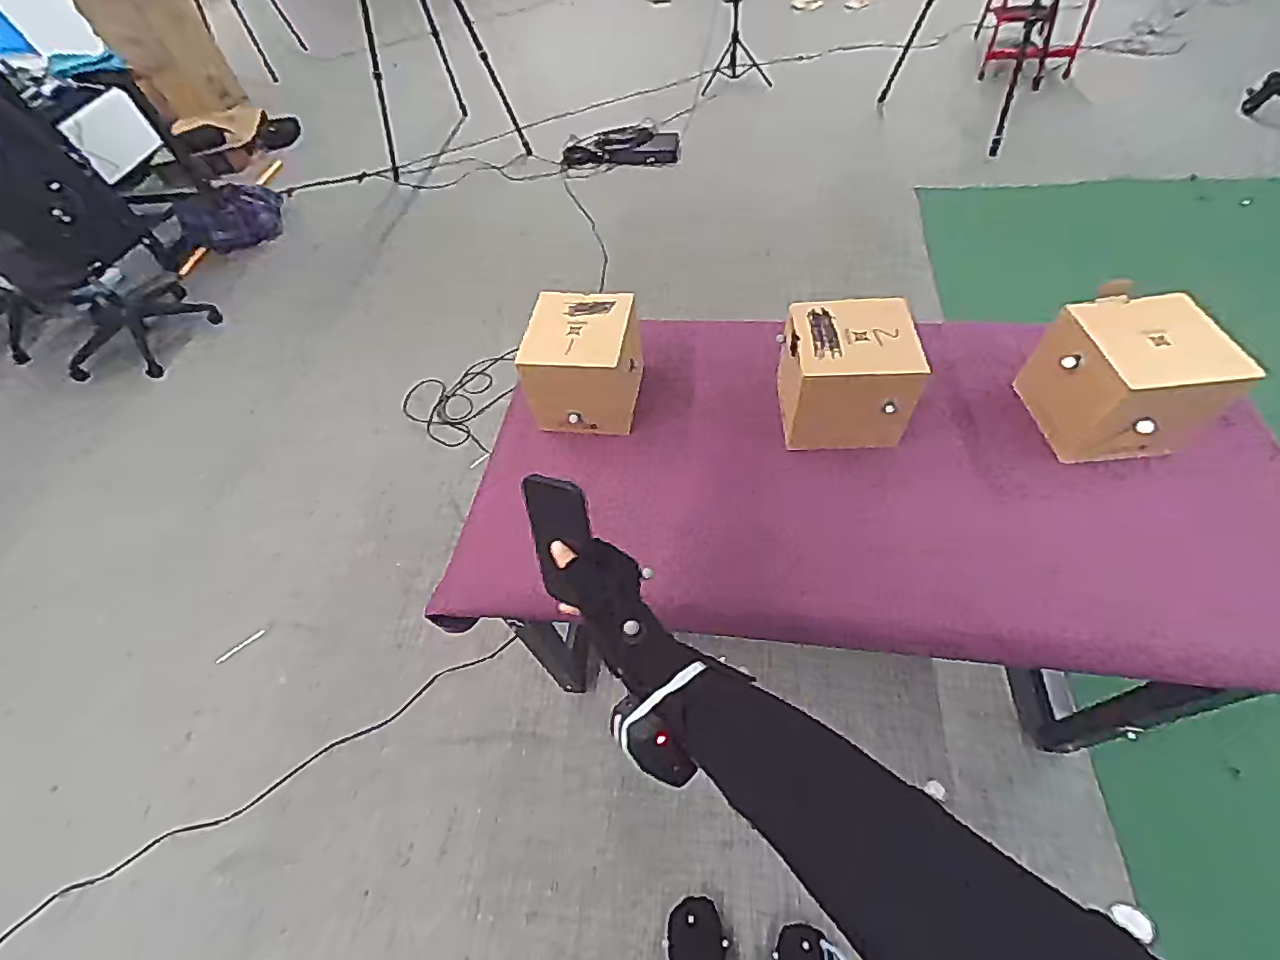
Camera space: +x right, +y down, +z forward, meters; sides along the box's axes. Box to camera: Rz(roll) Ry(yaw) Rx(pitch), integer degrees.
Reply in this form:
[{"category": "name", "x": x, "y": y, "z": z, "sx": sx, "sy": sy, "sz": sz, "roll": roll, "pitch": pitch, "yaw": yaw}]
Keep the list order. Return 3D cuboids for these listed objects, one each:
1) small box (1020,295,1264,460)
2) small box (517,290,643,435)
[{"category": "small box", "x": 0.711, "y": -0.142, "z": 0.796, "sx": 0.168, "sy": 0.176, "sz": 0.179, "roll": -5, "pitch": 54, "yaw": 4}, {"category": "small box", "x": -0.090, "y": -0.201, "z": 0.930, "sx": 0.168, "sy": 0.176, "sz": 0.179, "roll": 5, "pitch": 58, "yaw": 10}]
